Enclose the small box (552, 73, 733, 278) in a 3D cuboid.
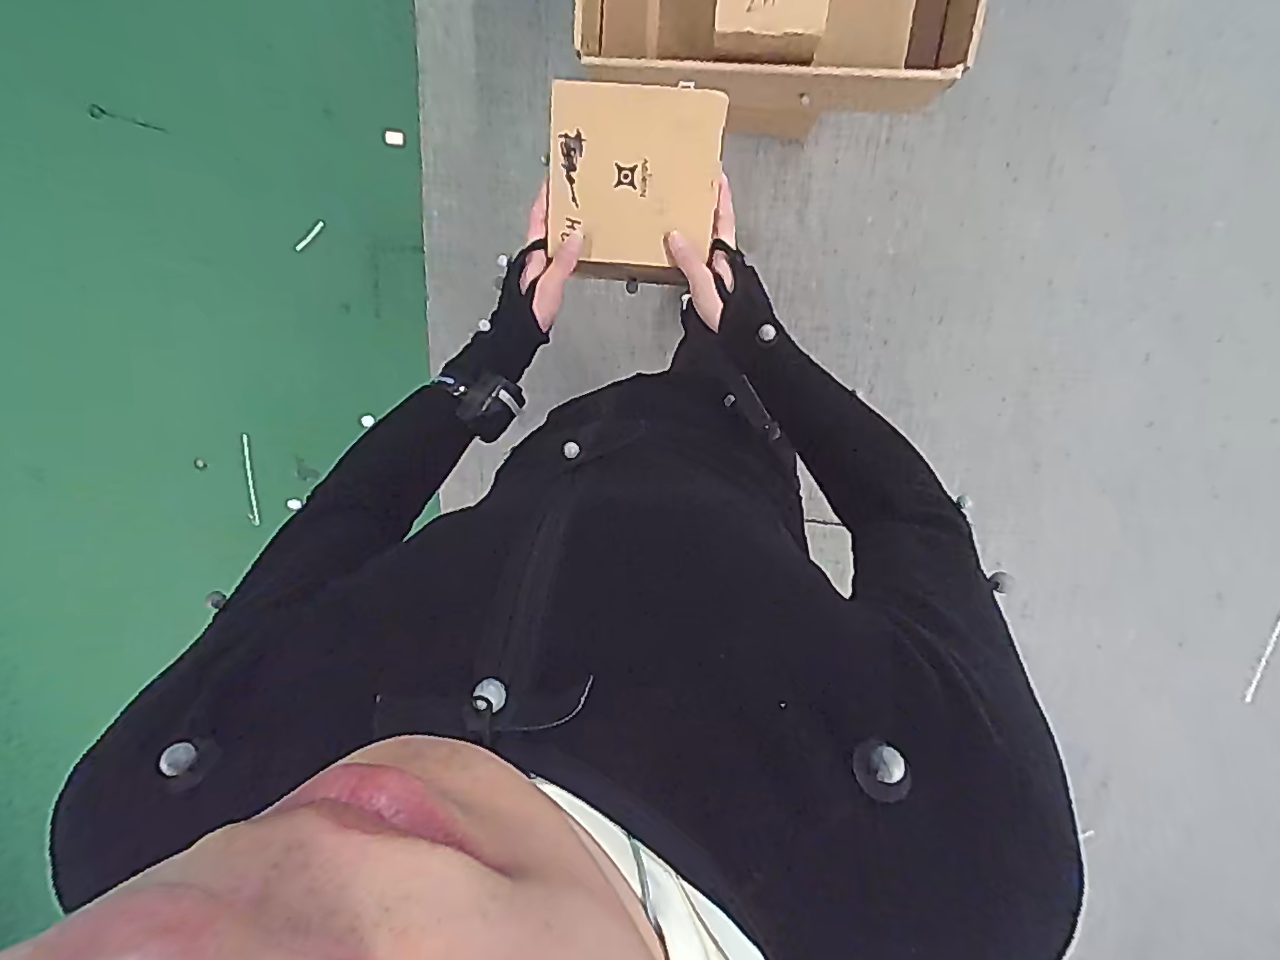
[{"bbox_3d":[-0.001,-0.330,0.621,0.179,0.176,0.168,3,105,0],"label":"small box"}]
